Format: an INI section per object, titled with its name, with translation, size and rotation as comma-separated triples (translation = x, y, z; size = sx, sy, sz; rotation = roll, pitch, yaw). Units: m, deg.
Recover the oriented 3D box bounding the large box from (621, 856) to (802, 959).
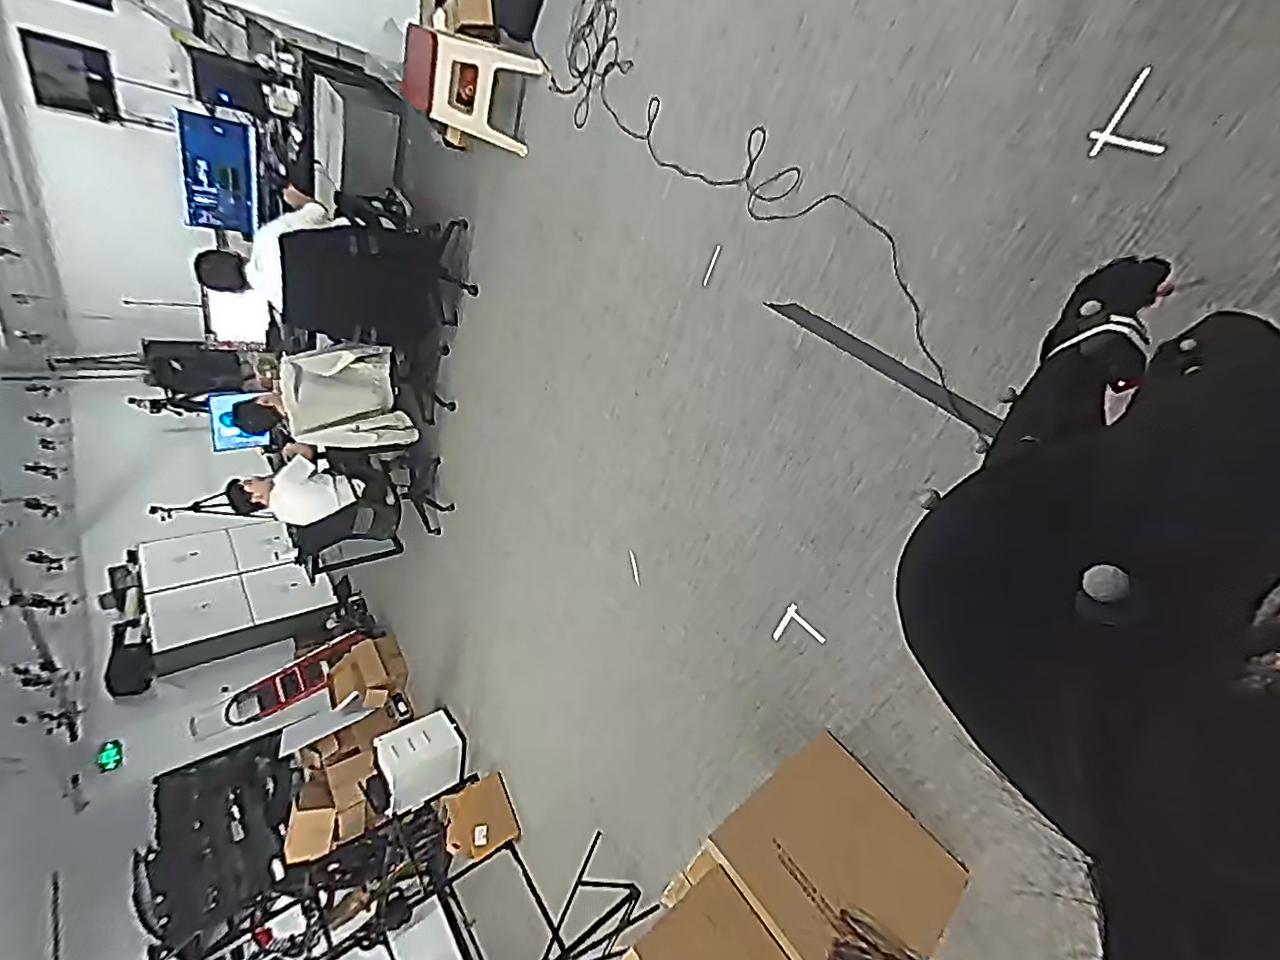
[large box]
translation = 0.193, 1.239, 1.291
size = 0.408, 0.320, 0.320
rotation = 42, 127, 35
